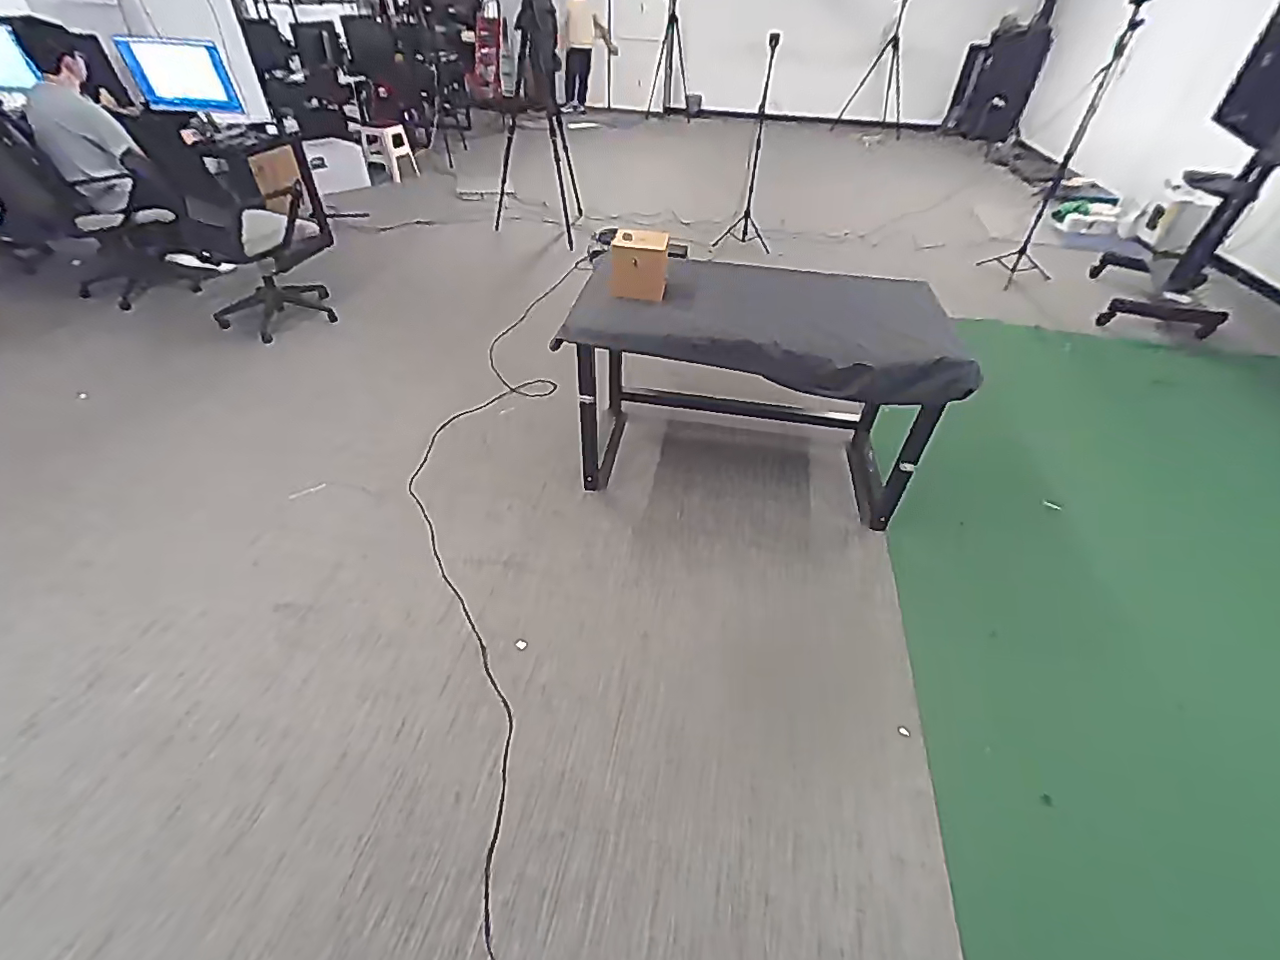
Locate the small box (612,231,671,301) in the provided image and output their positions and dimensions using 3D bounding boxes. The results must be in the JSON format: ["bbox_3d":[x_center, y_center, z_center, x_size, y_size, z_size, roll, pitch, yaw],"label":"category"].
[{"bbox_3d":[0.004,-0.716,1.809,0.179,0.176,0.168,7,42,3],"label":"small box"}]
